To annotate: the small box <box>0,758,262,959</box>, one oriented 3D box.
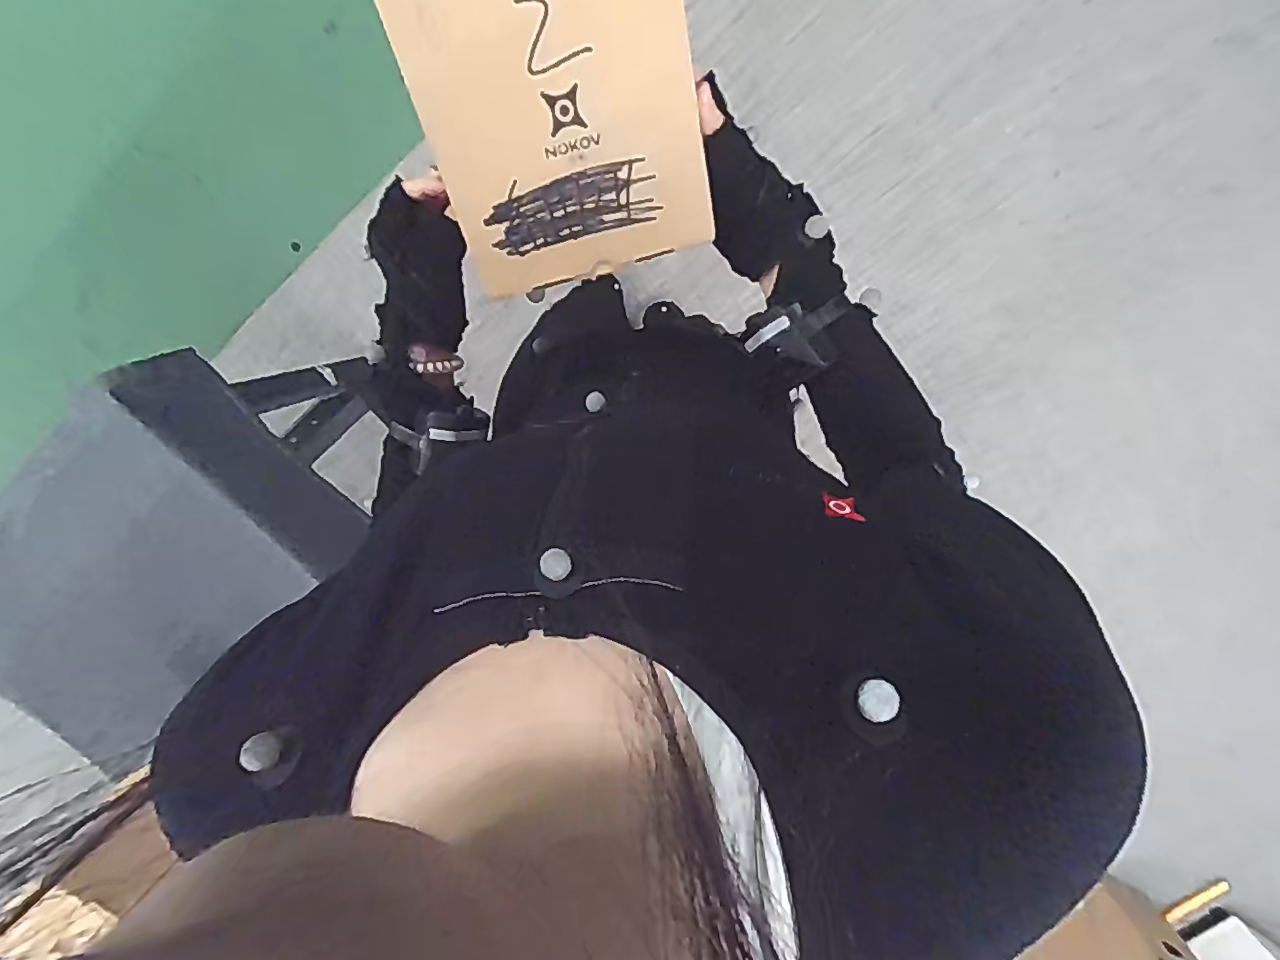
[{"bbox_3d":[-0.642,0.505,0.692,0.179,0.176,0.168,-40,103,14],"label":"small box"}]
